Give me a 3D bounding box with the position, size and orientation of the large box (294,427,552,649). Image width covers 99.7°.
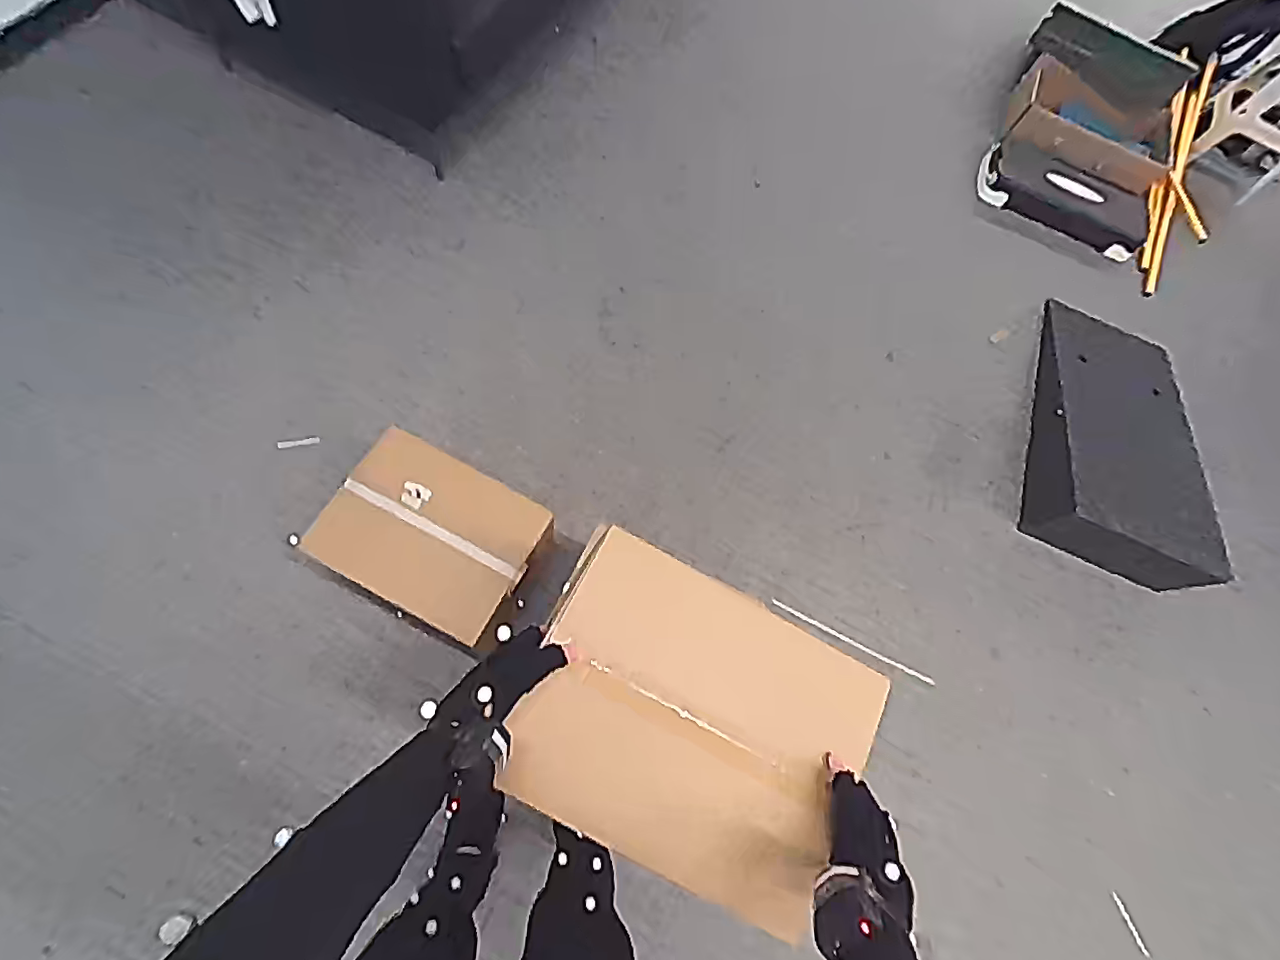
[{"bbox_3d":[-0.448,0.150,1.231,0.408,0.320,0.320,28,67,3],"label":"large box"}]
